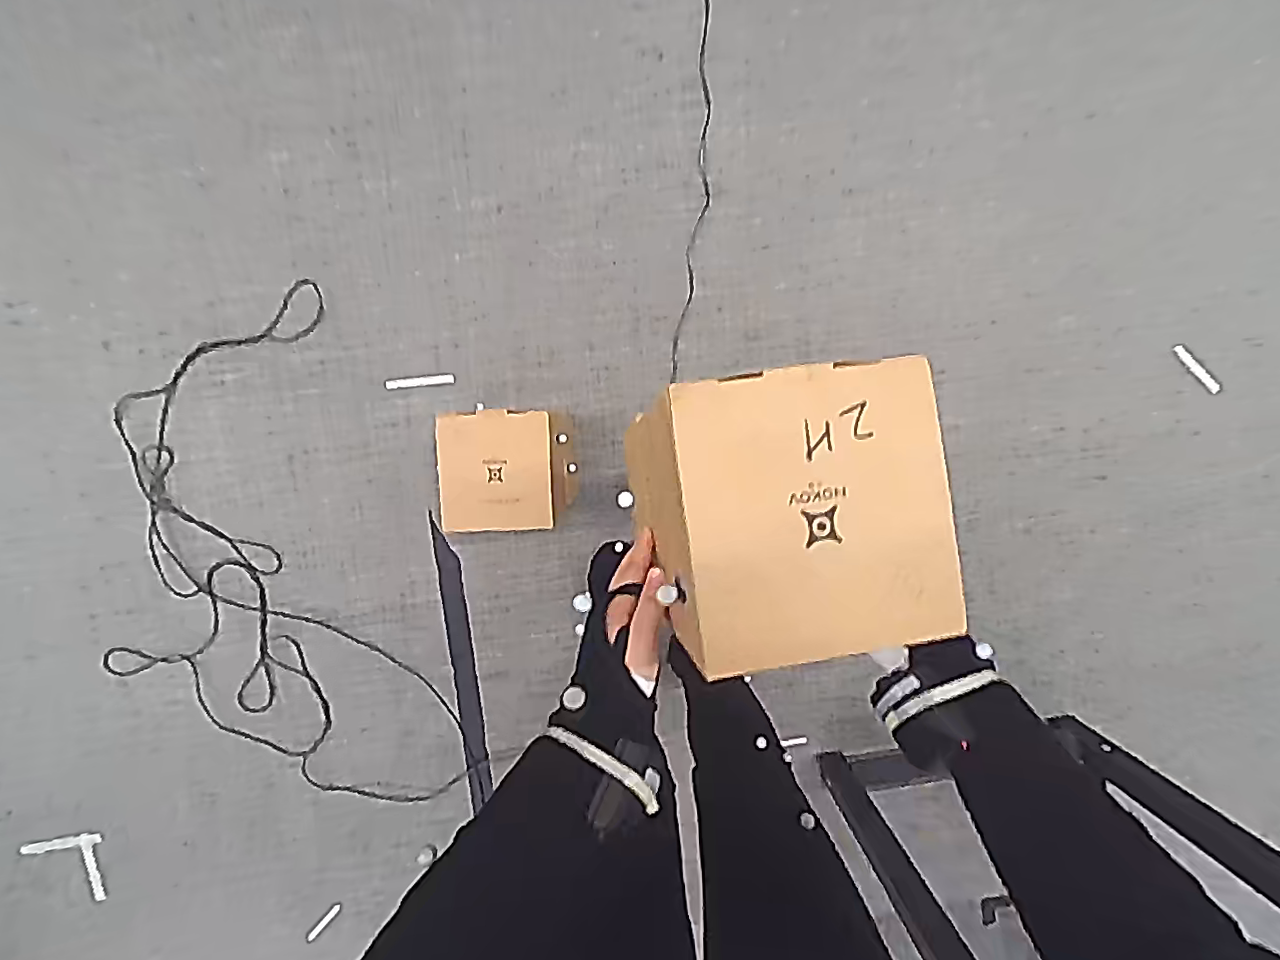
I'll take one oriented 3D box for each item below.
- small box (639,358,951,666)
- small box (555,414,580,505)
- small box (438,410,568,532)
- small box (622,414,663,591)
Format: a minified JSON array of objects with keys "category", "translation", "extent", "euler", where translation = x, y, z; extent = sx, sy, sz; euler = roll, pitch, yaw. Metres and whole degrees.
[{"category":"small box","translation":[0.098,0.019,0.416],"extent":[0.168,0.176,0.179],"euler":[-9,89,-7]},{"category":"small box","translation":[-0.218,-0.033,1.032],"extent":[0.179,0.176,0.168],"euler":[-7,96,0]},{"category":"small box","translation":[-0.210,-0.020,0.868],"extent":[0.168,0.176,0.179],"euler":[-2,97,0]},{"category":"small box","translation":[0.082,0.013,0.580],"extent":[0.179,0.176,0.168],"euler":[-8,88,-6]}]
